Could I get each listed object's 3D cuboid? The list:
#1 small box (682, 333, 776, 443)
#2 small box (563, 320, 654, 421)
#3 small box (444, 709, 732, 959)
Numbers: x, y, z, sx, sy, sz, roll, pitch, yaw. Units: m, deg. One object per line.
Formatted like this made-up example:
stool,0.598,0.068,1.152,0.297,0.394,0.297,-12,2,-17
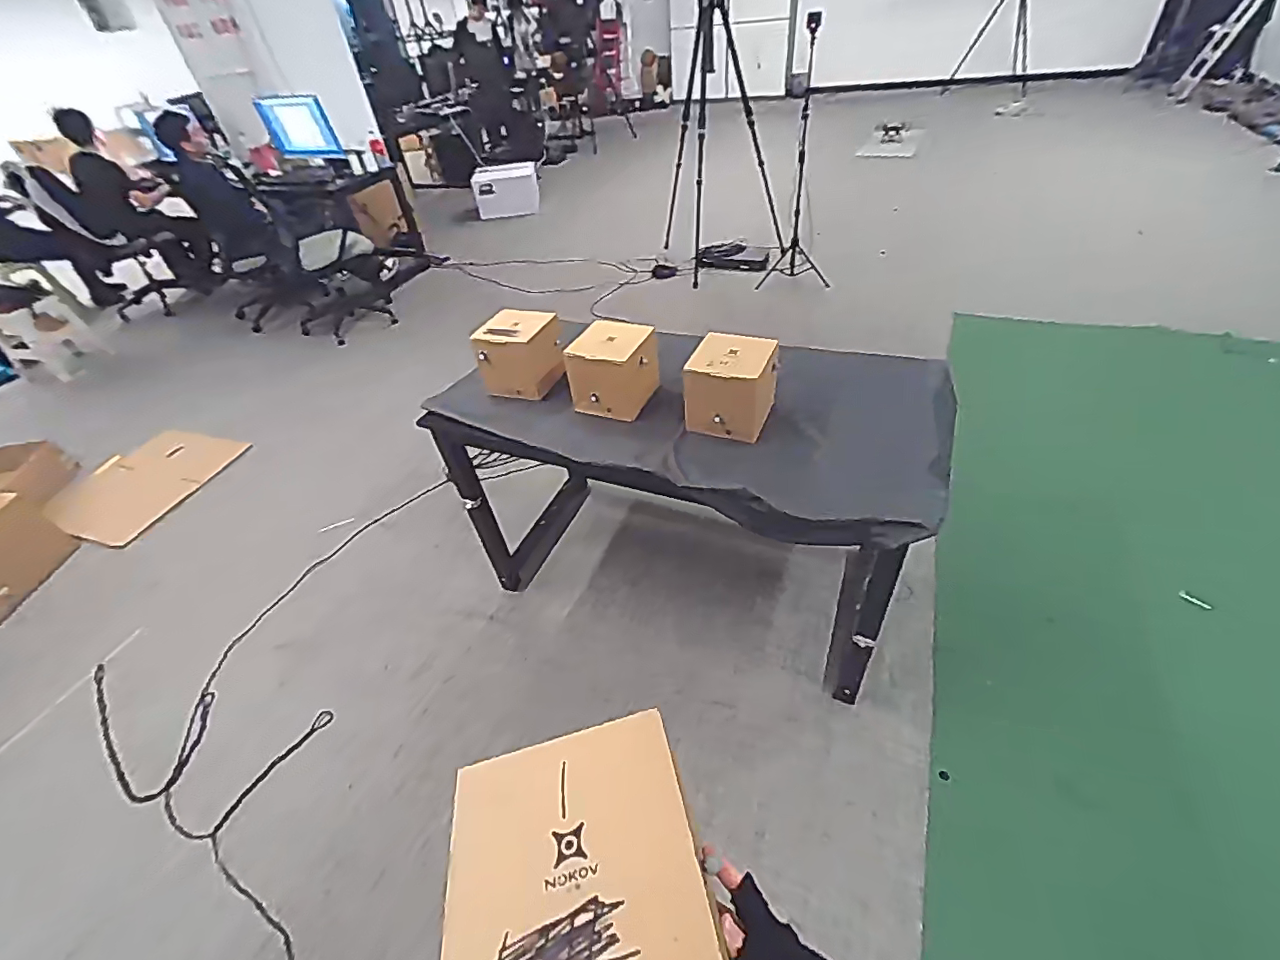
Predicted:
small box,0.203,-0.212,1.236,0.168,0.176,0.179,14,46,22
small box,-0.070,-0.273,1.341,0.168,0.176,0.179,14,47,20
small box,-0.029,0.312,0.401,0.168,0.176,0.179,-15,34,-3
